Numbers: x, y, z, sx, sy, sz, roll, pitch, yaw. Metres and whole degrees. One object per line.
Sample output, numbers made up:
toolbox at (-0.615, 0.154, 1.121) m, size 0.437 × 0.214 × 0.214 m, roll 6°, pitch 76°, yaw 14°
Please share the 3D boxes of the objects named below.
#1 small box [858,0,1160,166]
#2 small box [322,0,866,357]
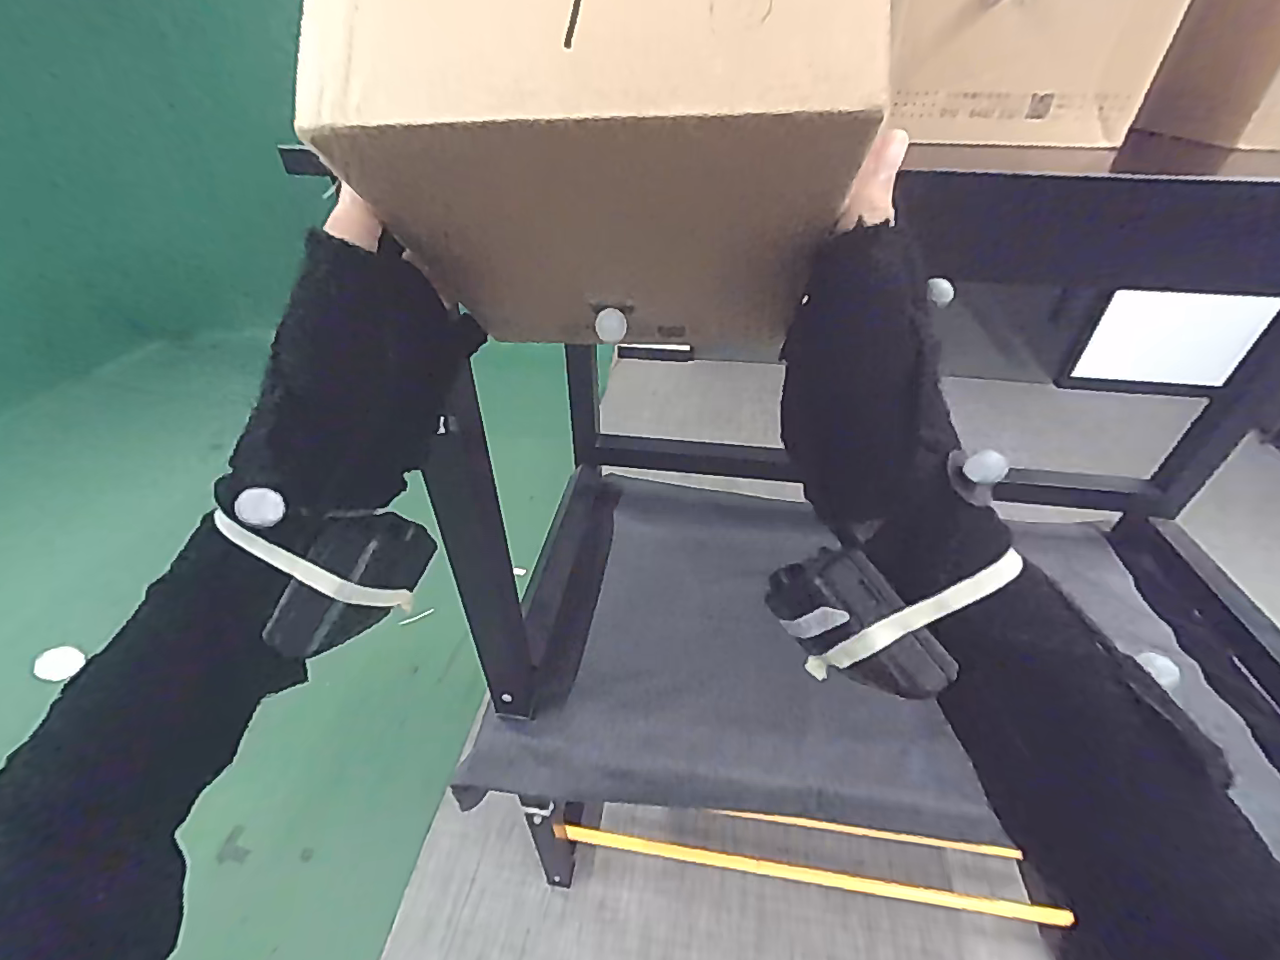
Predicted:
small box at (0.260, -0.347, 0.413) m, size 0.168 × 0.176 × 0.179 m, roll 6°, pitch 38°, yaw 7°
small box at (-0.006, -0.171, 0.249) m, size 0.168 × 0.179 × 0.176 m, roll 2°, pitch -6°, yaw 6°
